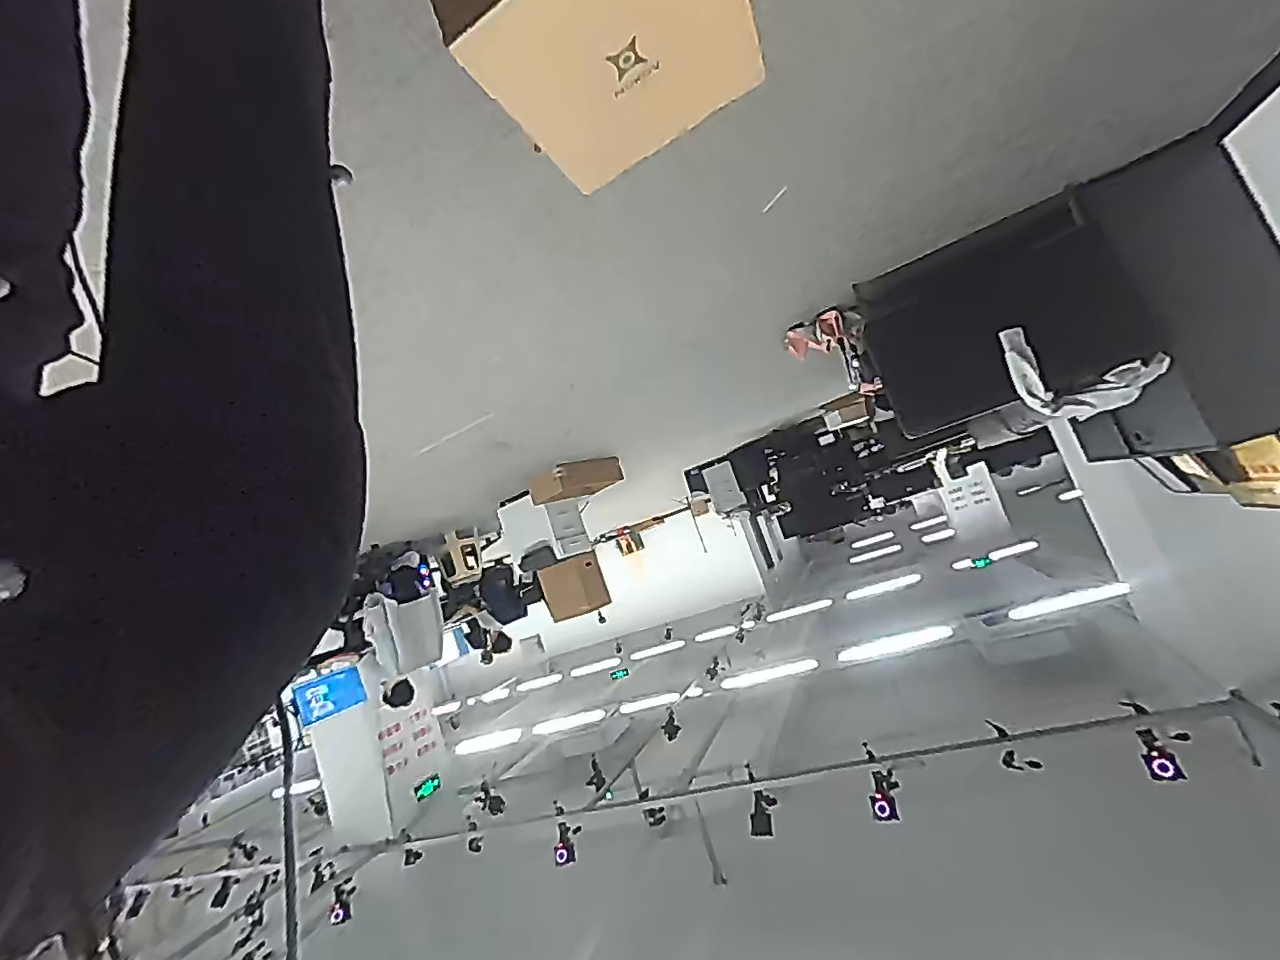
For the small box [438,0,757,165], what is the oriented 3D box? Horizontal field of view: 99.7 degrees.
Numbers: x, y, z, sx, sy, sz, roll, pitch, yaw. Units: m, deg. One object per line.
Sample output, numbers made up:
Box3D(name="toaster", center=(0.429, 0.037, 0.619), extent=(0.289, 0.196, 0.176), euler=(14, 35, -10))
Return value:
Box3D(name="small box", center=(-0.042, -0.368, 0.358), extent=(0.168, 0.176, 0.179), euler=(-23, 173, 21))
